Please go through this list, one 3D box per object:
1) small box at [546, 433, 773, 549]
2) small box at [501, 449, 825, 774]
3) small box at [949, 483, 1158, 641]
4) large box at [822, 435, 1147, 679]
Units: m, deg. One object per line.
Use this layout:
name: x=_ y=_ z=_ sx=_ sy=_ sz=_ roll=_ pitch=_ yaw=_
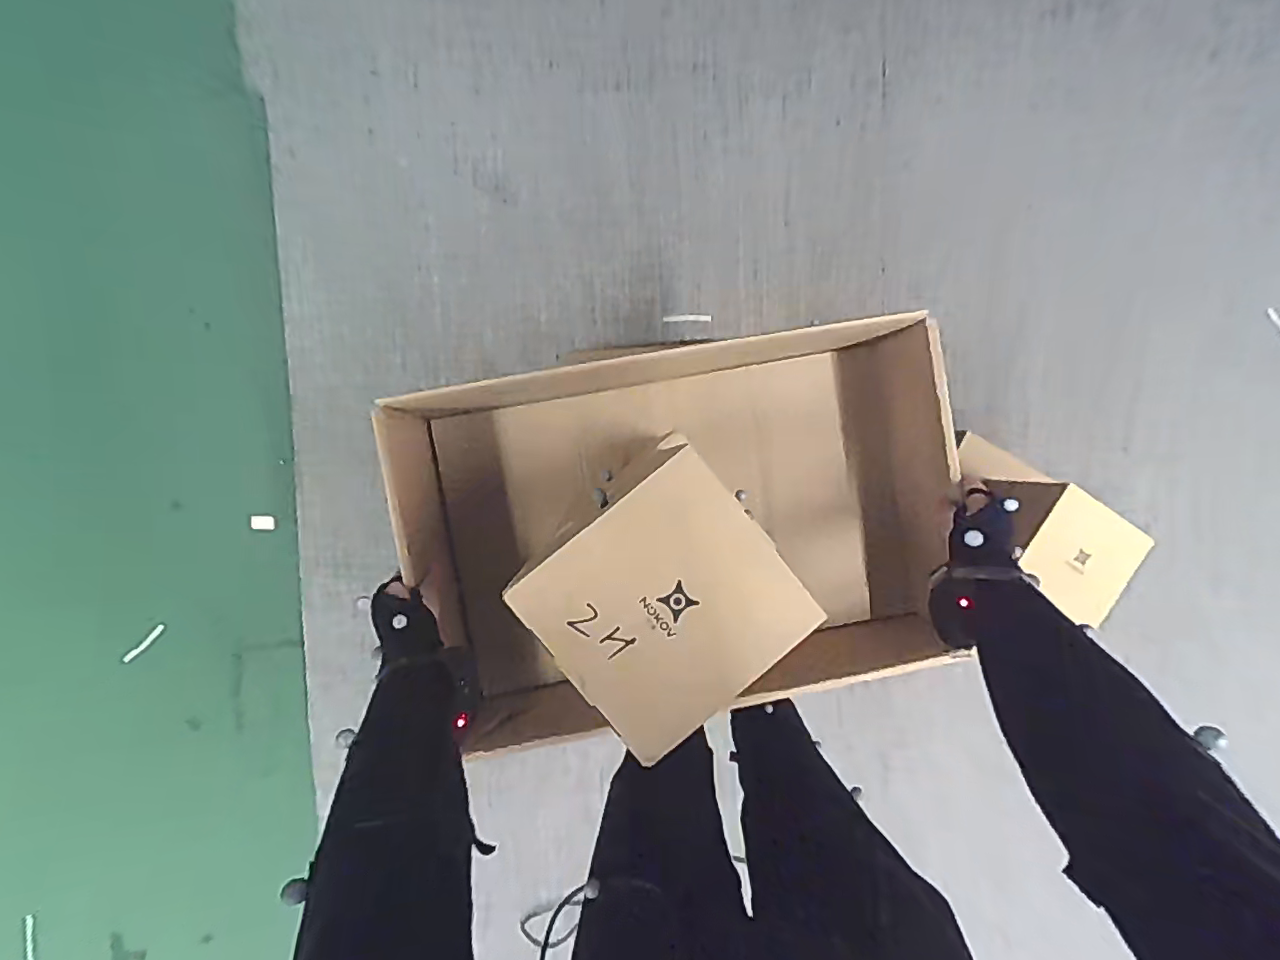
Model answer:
small box: x=0.018 y=0.066 z=0.624 sx=0.179 sy=0.176 sz=0.168 roll=-41 pitch=94 yaw=-1
small box: x=0.013 y=0.090 z=0.458 sx=0.179 sy=0.176 sz=0.168 roll=-39 pitch=92 yaw=-1
small box: x=0.642 y=0.117 z=0.865 sx=0.168 sy=0.176 sz=0.179 roll=32 pitch=90 yaw=-4
large box: x=0.665 y=0.133 z=1.111 sx=0.408 sy=0.320 sz=0.320 roll=28 pitch=92 yaw=-5
